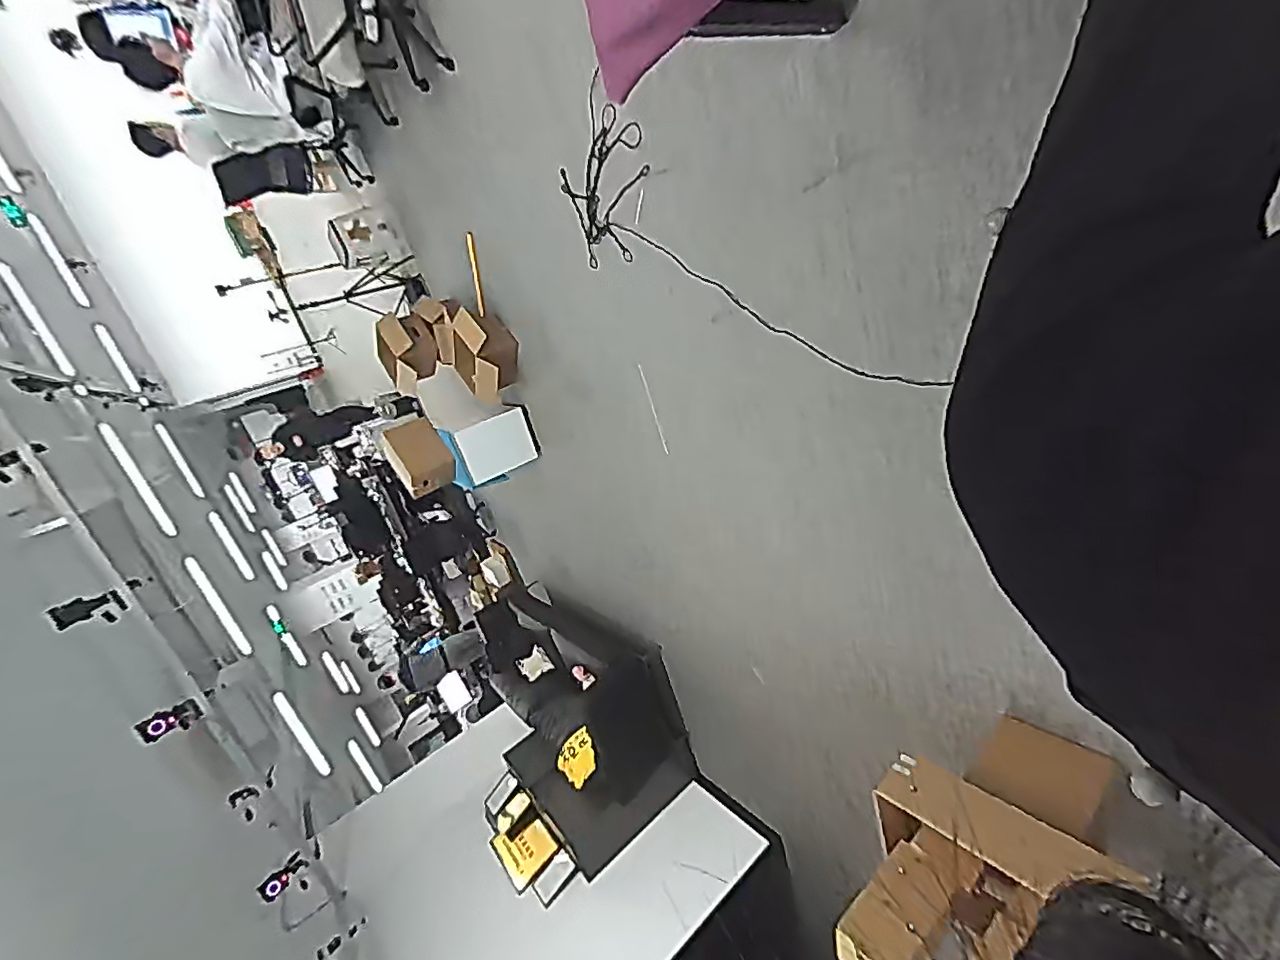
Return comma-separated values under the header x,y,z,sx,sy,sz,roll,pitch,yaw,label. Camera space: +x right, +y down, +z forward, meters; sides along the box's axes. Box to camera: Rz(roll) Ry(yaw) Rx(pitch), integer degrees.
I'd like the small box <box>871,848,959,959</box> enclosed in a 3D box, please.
x,y,z,sx,sy,sz,roll,pitch,yaw,label
0.771,1.193,1.516,0.168,0.176,0.179,19,129,51,small box

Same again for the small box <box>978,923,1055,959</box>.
x,y,z,sx,sy,sz,roll,pitch,yaw,label
0.928,1.239,1.304,0.168,0.176,0.179,7,119,56,small box

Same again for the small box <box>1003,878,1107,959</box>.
x,y,z,sx,sy,sz,roll,pitch,yaw,label
1.063,1.188,1.383,0.168,0.176,0.179,6,118,55,small box

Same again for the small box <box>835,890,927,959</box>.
x,y,z,sx,sy,sz,roll,pitch,yaw,label
0.641,1.254,1.438,0.168,0.176,0.179,23,133,49,small box
